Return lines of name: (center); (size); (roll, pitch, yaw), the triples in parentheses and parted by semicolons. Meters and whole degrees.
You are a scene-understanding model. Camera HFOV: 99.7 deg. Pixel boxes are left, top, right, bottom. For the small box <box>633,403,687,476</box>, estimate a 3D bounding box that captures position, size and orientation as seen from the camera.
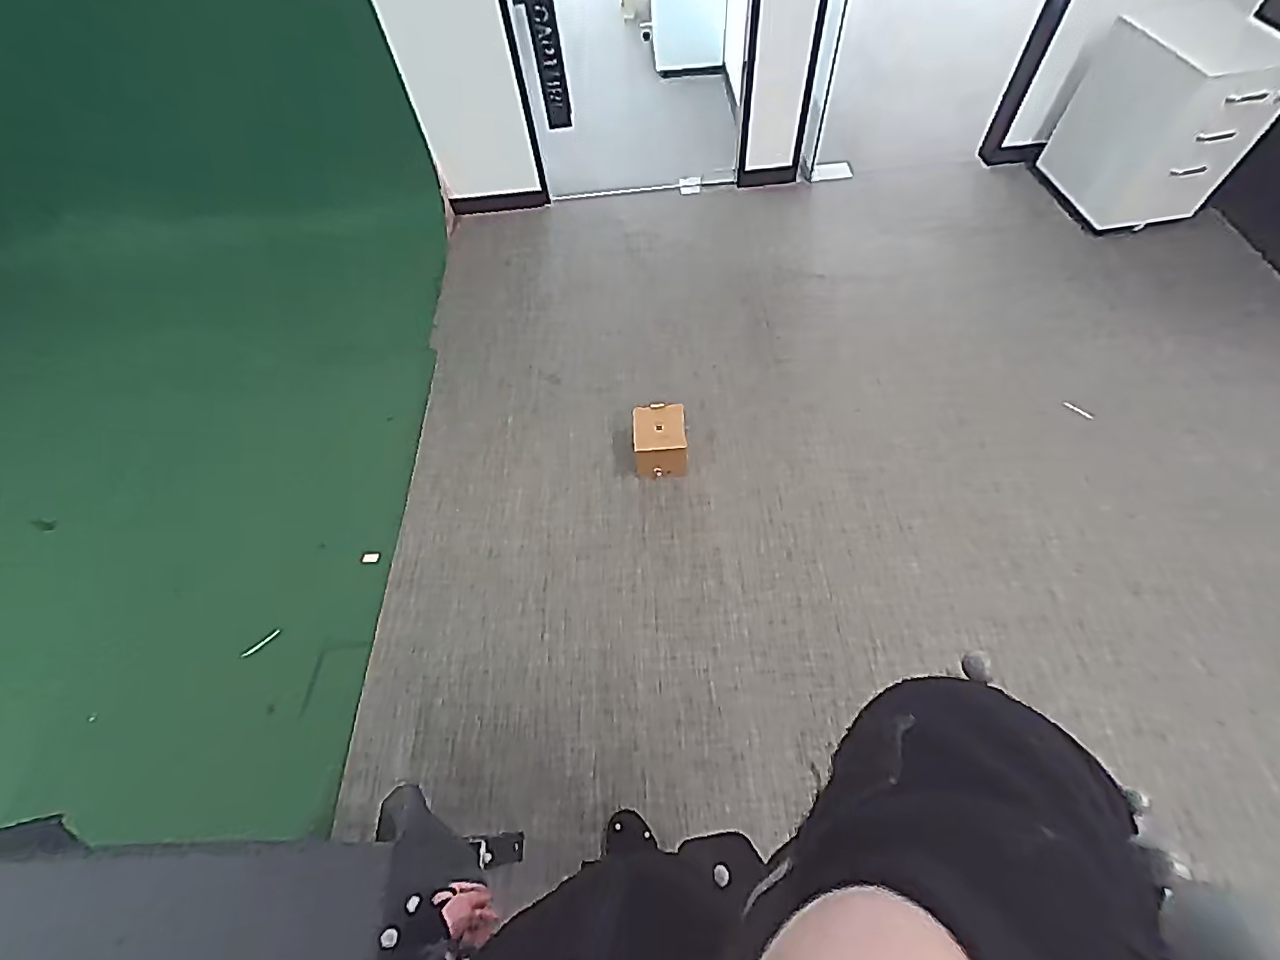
small box: (0.066, -0.130, 1.765); (0.168, 0.176, 0.179); (-3, 59, 5)
